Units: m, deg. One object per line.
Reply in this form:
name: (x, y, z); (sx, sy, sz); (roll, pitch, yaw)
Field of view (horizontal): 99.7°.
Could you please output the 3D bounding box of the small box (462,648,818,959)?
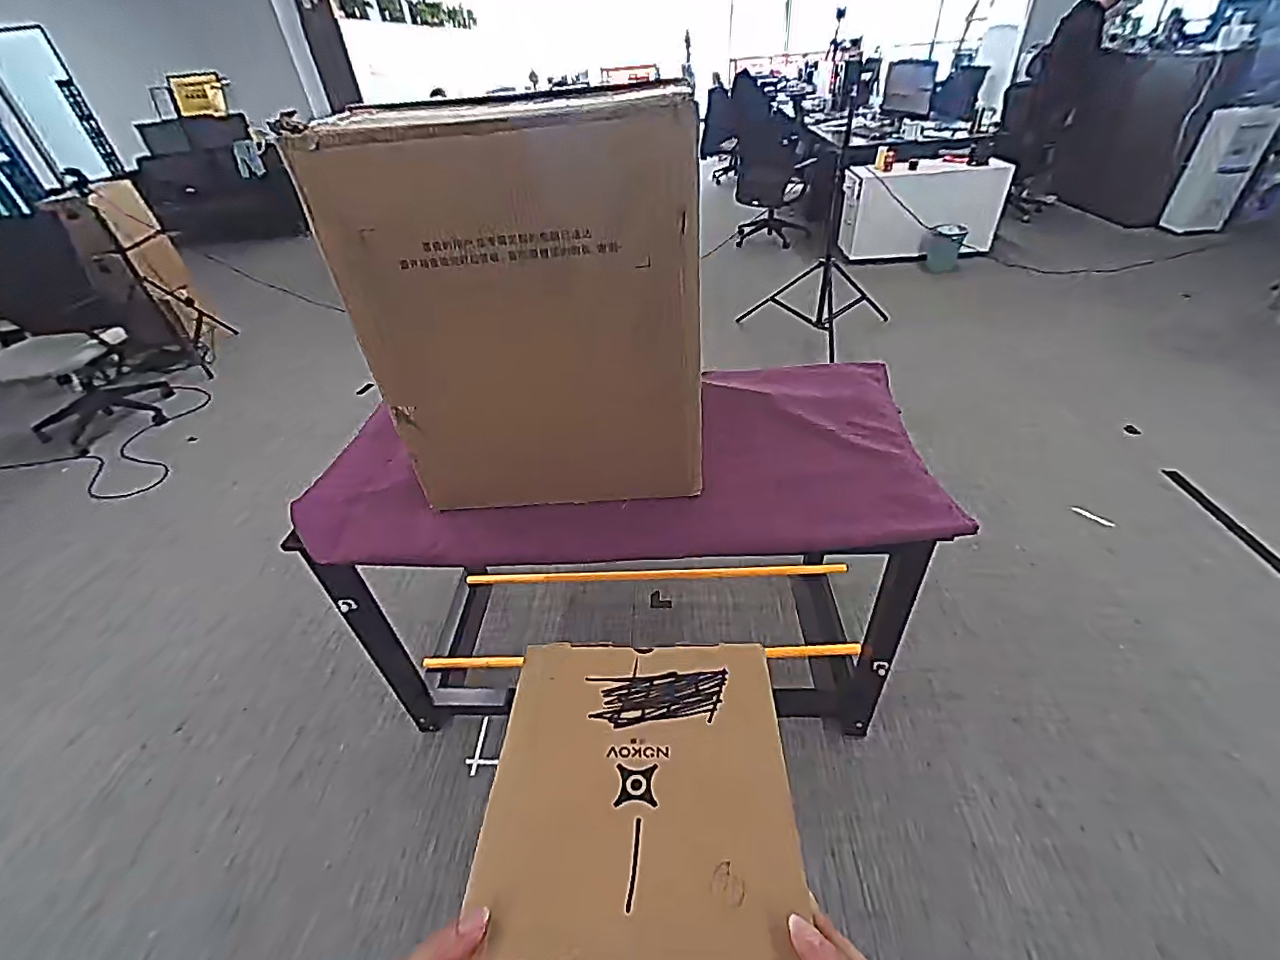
small box: (0.006, 0.234, 0.355); (0.168, 0.176, 0.179); (-2, 34, 4)
